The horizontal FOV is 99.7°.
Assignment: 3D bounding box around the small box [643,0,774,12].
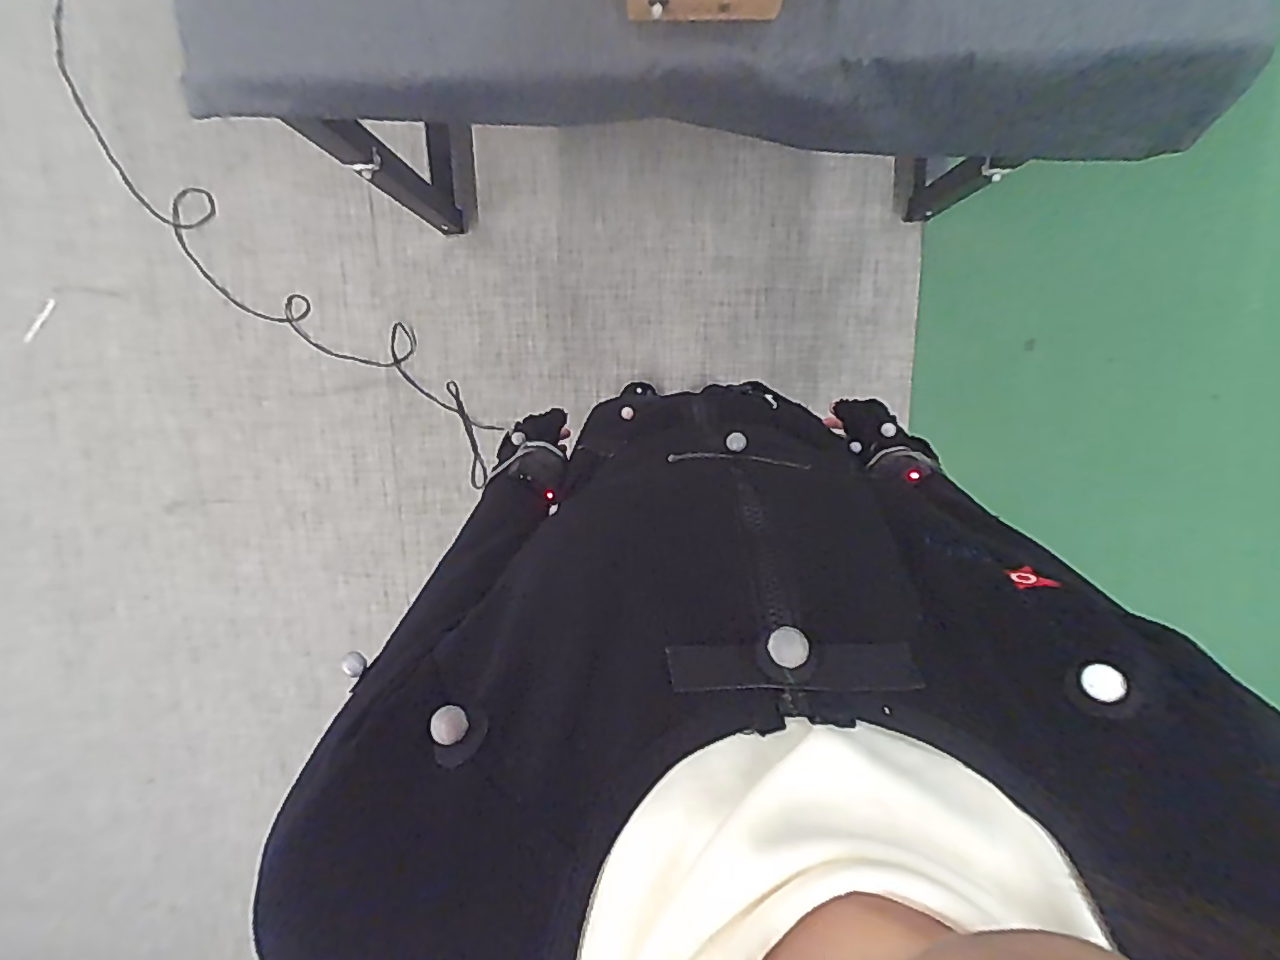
[{"bbox_3d":[0.068,-0.594,0.514,0.168,0.176,0.179,0,98,1],"label":"small box"}]
